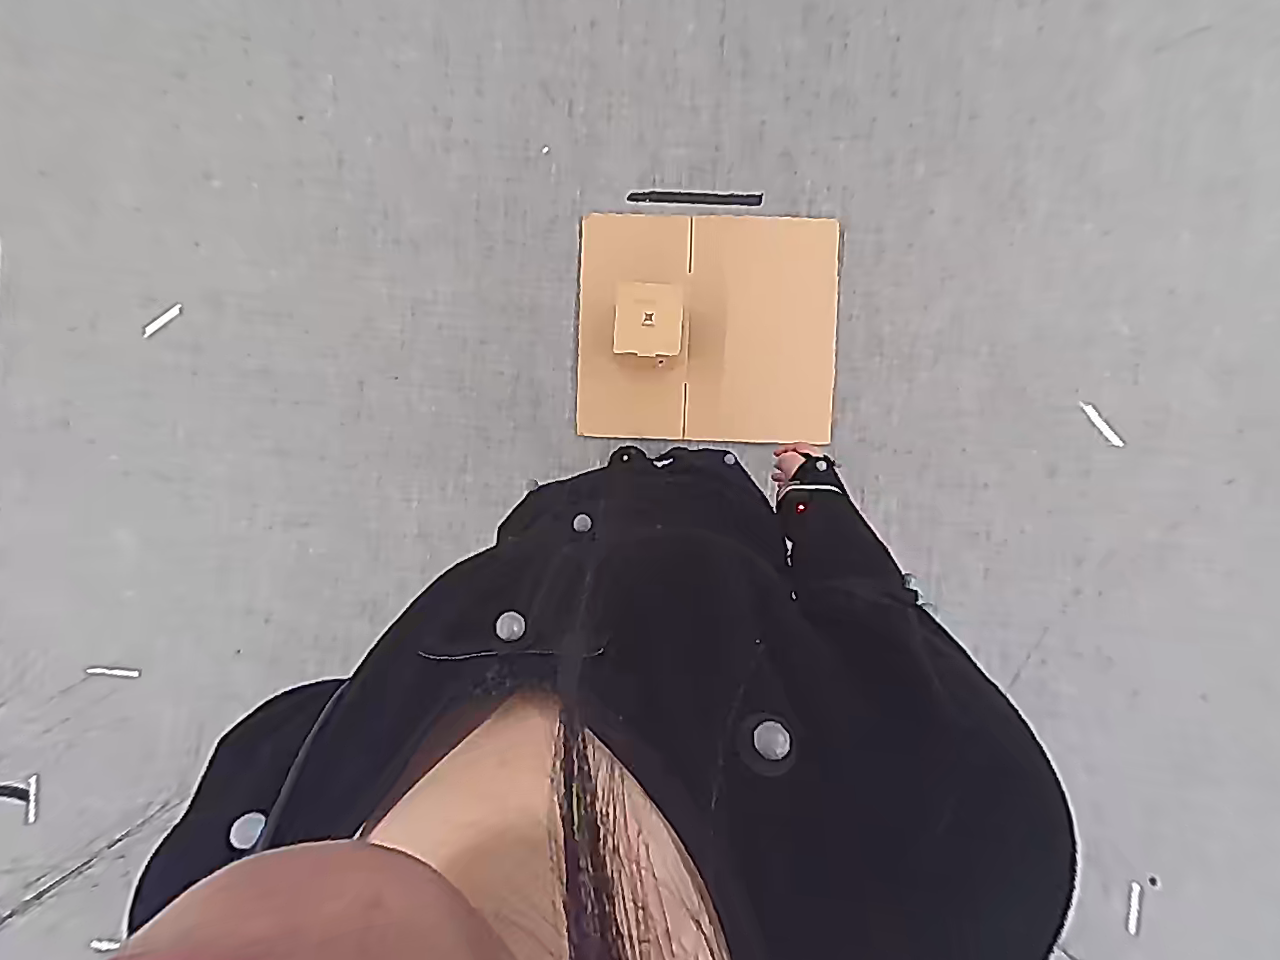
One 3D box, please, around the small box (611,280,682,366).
[{"bbox_3d":[0.016,-0.395,1.390,0.168,0.176,0.179,3,91,0],"label":"small box"}]
